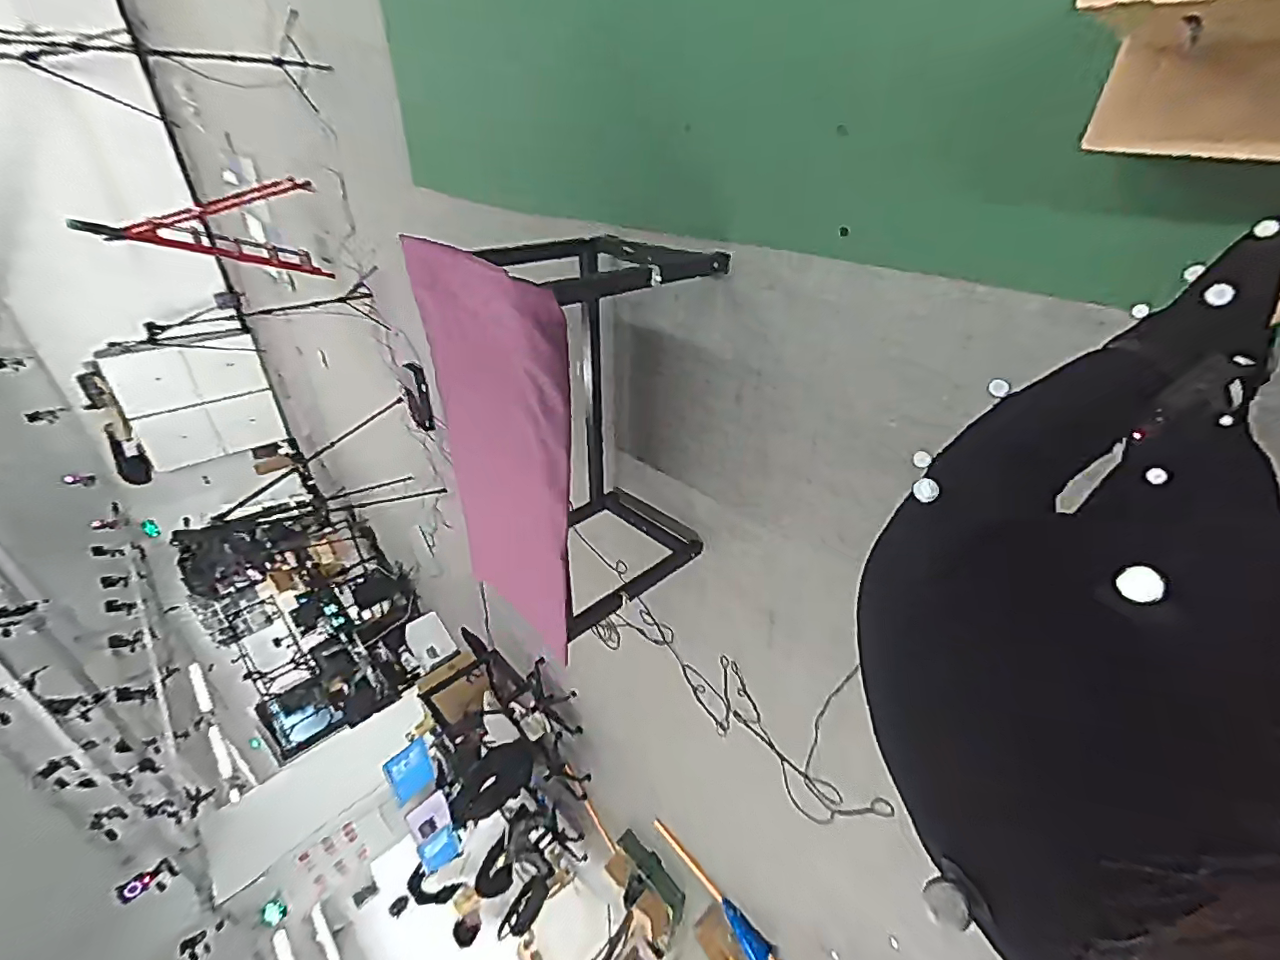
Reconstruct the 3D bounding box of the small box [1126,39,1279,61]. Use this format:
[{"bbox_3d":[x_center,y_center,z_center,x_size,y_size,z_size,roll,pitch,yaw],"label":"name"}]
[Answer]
[{"bbox_3d":[0.650,-0.568,0.574,0.168,0.176,0.179,31,132,36],"label":"small box"}]
